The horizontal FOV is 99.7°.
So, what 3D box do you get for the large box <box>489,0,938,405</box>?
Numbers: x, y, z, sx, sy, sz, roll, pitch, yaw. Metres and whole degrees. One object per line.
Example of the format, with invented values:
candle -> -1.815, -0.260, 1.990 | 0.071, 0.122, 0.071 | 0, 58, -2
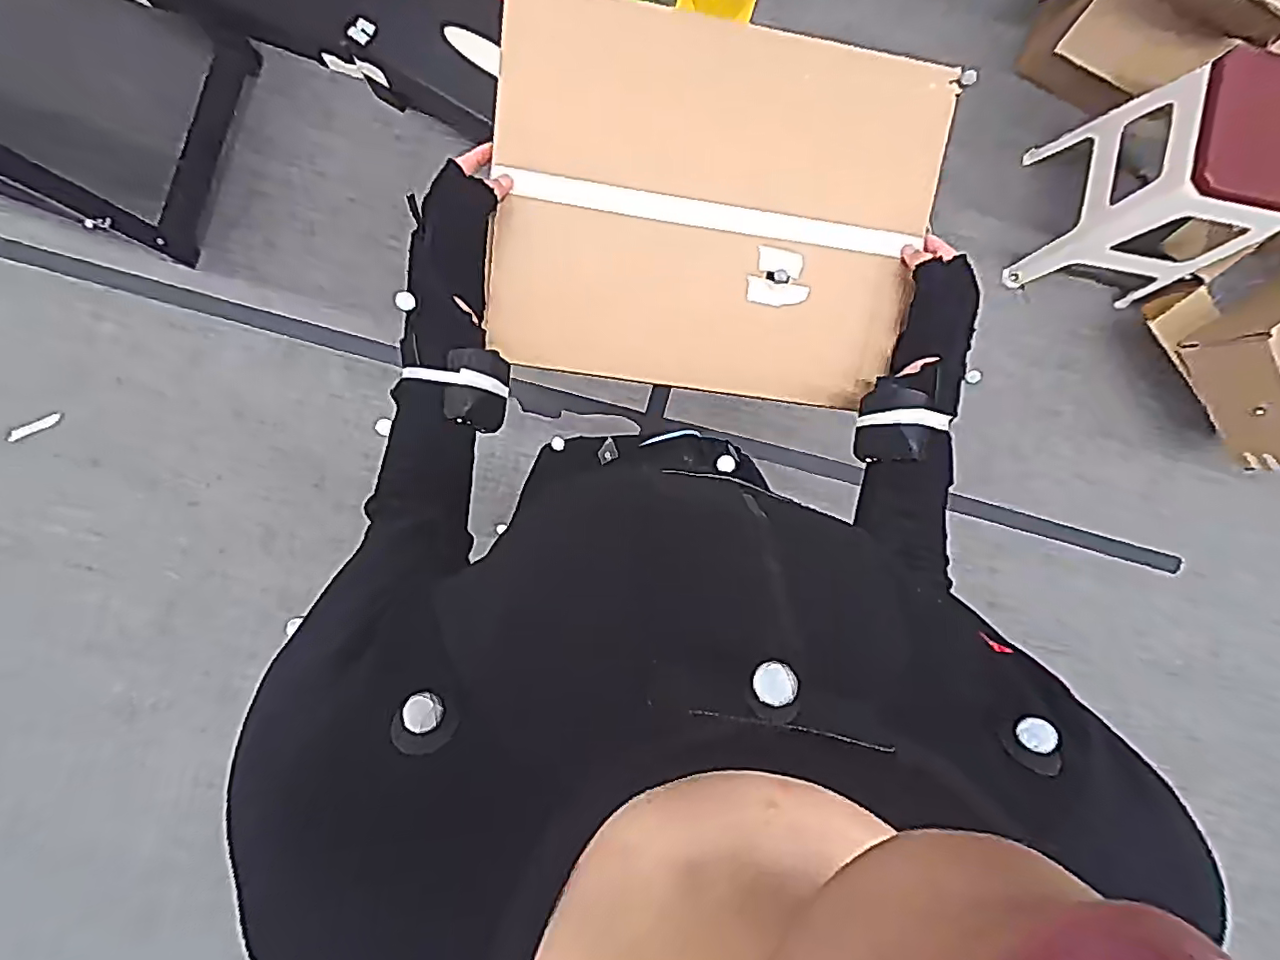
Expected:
large box -> 0.052, -0.278, 0.657 | 0.408, 0.320, 0.320 | 7, 102, -7
